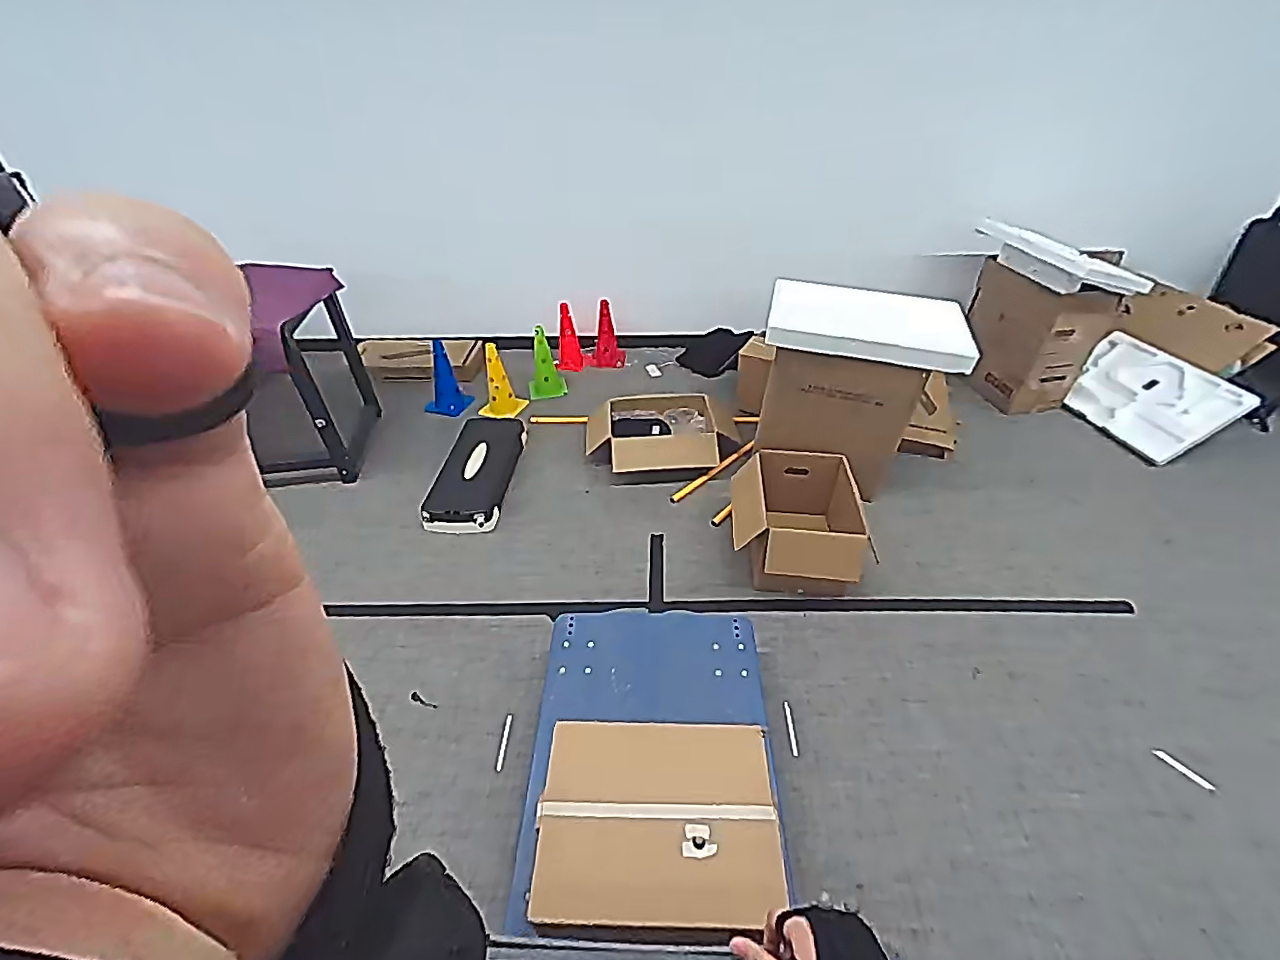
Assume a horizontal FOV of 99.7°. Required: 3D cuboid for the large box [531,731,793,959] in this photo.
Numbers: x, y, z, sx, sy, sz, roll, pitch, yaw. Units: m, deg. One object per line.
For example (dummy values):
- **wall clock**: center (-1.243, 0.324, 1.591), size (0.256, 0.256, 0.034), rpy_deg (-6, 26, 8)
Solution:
- **large box**: center (0.031, 0.698, 1.016), size (0.408, 0.320, 0.320), rpy_deg (1, 40, 1)
